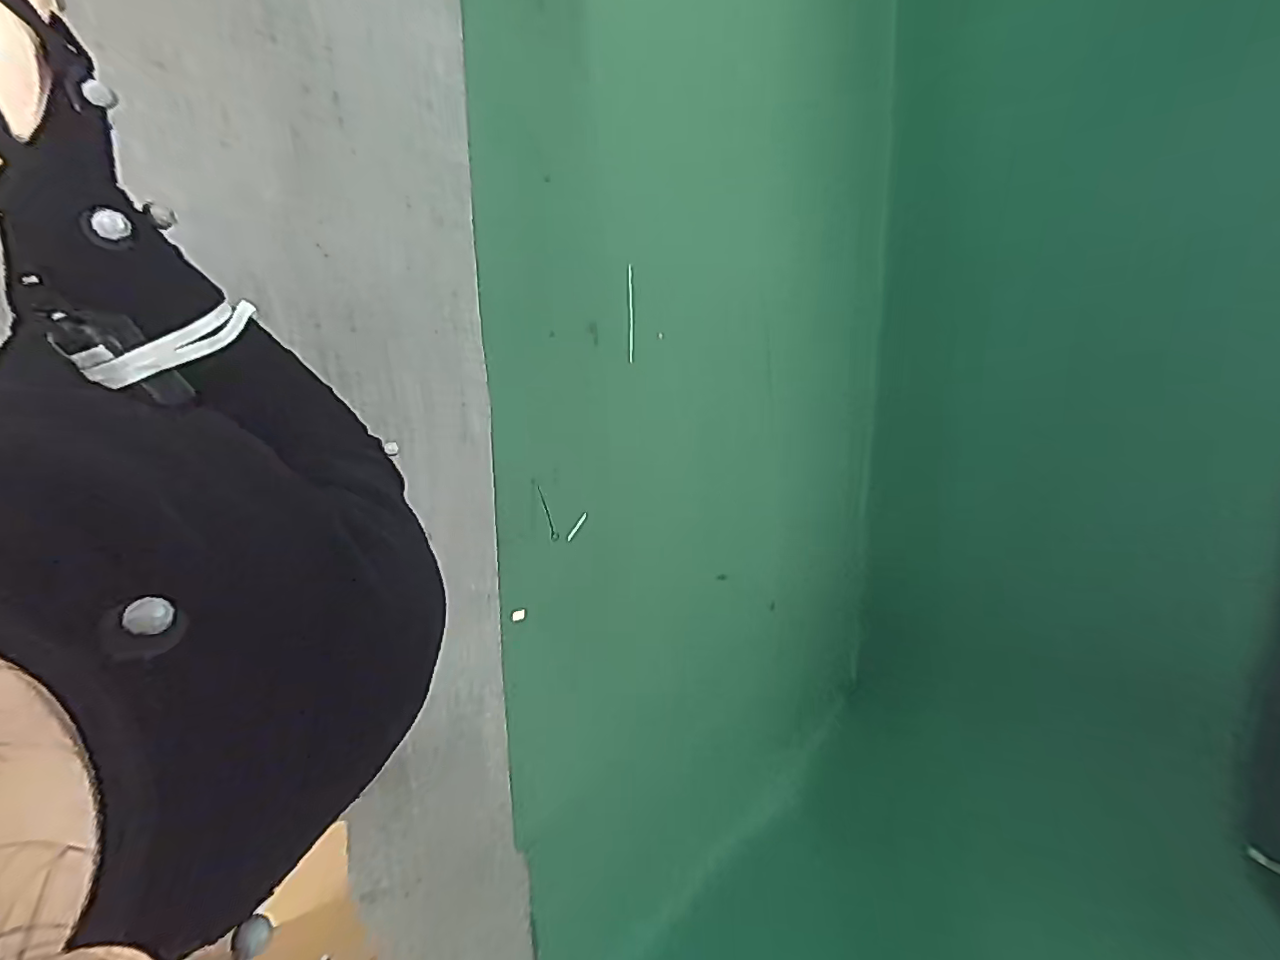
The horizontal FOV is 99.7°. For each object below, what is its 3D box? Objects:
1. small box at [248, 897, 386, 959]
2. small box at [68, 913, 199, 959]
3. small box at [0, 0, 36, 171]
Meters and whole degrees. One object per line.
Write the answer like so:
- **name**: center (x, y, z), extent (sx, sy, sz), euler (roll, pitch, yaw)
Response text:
- **small box**: center (-0.580, 0.905, 0.963), extent (0.179, 0.176, 0.168), euler (3, 94, -45)
- **small box**: center (-0.740, 0.781, 0.777), extent (0.168, 0.176, 0.179), euler (-8, 102, -45)
- **small box**: center (-0.419, -0.282, 0.252), extent (0.168, 0.176, 0.179), euler (-2, 126, -42)
